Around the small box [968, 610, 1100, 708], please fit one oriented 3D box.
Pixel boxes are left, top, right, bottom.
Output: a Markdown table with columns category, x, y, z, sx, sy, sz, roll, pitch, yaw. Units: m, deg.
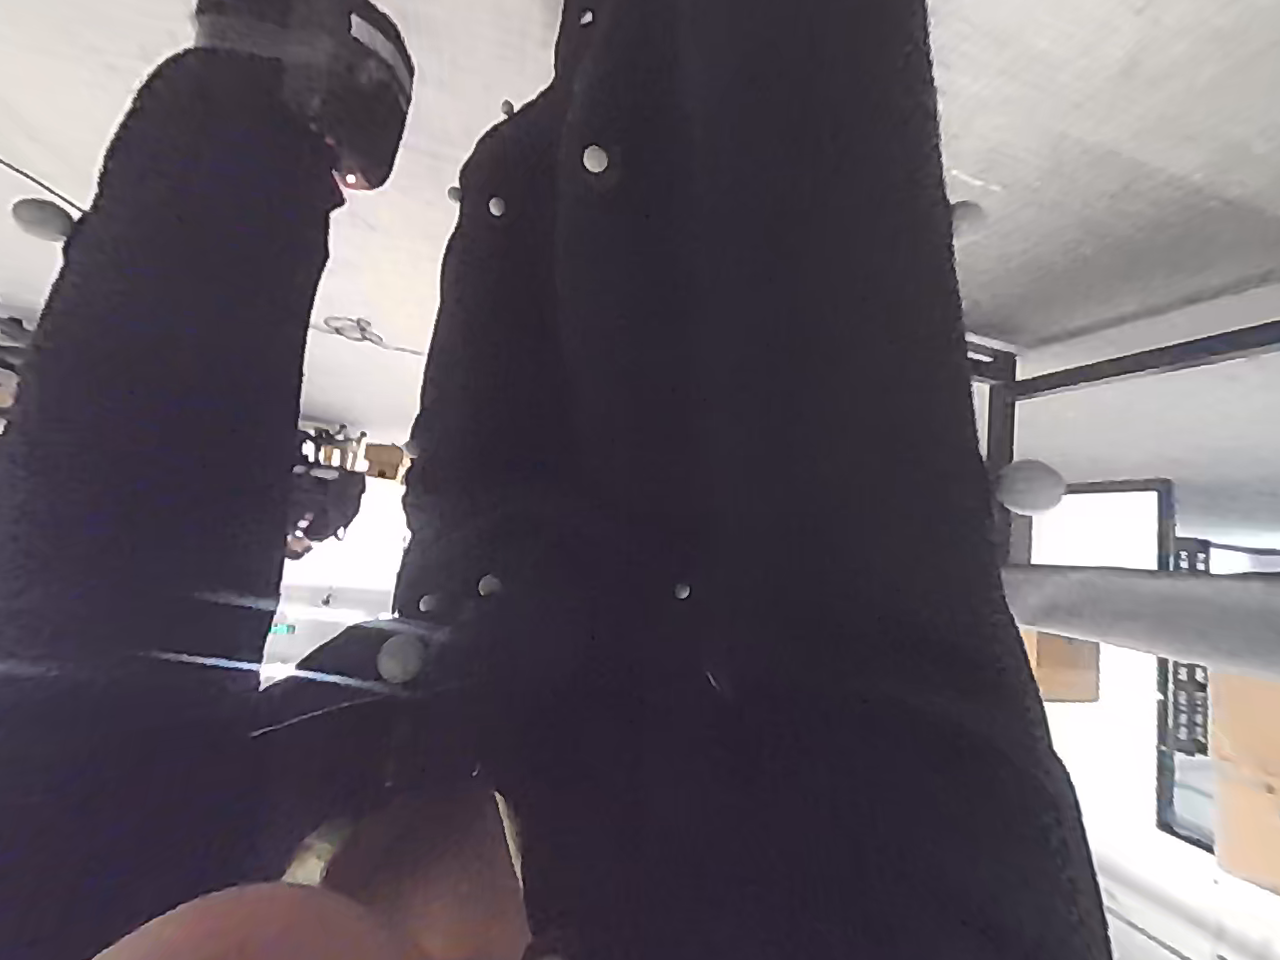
| category | x | y | z | sx | sy | sz | roll | pitch | yaw |
| --- | --- | --- | --- | --- | --- | --- | --- | --- | --- |
| small box | 0.849 | 0.380 | 1.172 | 0.179 | 0.176 | 0.168 | 8 | 174 | -15 |

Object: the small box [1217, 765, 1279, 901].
| category | x | y | z | sx | sy | sz | roll | pitch | yaw |
| --- | --- | --- | --- | --- | --- | --- | --- | --- | --- |
| small box | 0.990 | 0.519 | 0.778 | 0.179 | 0.176 | 0.168 | 7 | 173 | -18 |

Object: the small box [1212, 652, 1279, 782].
| category | x | y | z | sx | sy | sz | roll | pitch | yaw |
| --- | --- | --- | --- | --- | --- | --- | --- | --- | --- |
| small box | 0.990 | 0.354 | 0.793 | 0.179 | 0.176 | 0.168 | 7 | 174 | -20 |
